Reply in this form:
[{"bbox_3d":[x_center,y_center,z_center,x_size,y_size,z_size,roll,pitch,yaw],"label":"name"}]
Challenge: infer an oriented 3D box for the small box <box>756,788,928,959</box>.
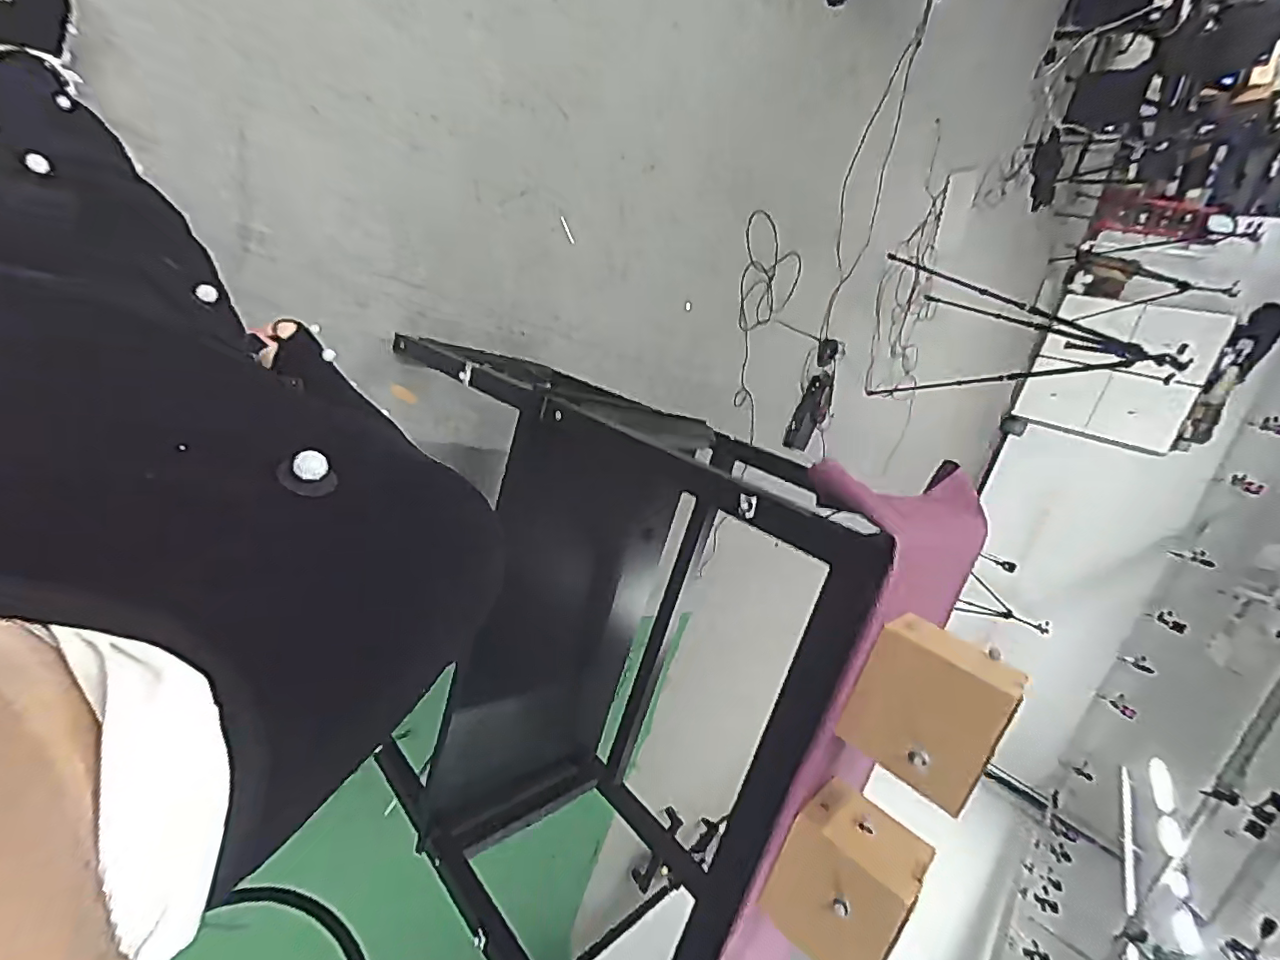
[{"bbox_3d":[0.299,0.601,0.812,0.168,0.176,0.179,8,104,-50],"label":"small box"}]
